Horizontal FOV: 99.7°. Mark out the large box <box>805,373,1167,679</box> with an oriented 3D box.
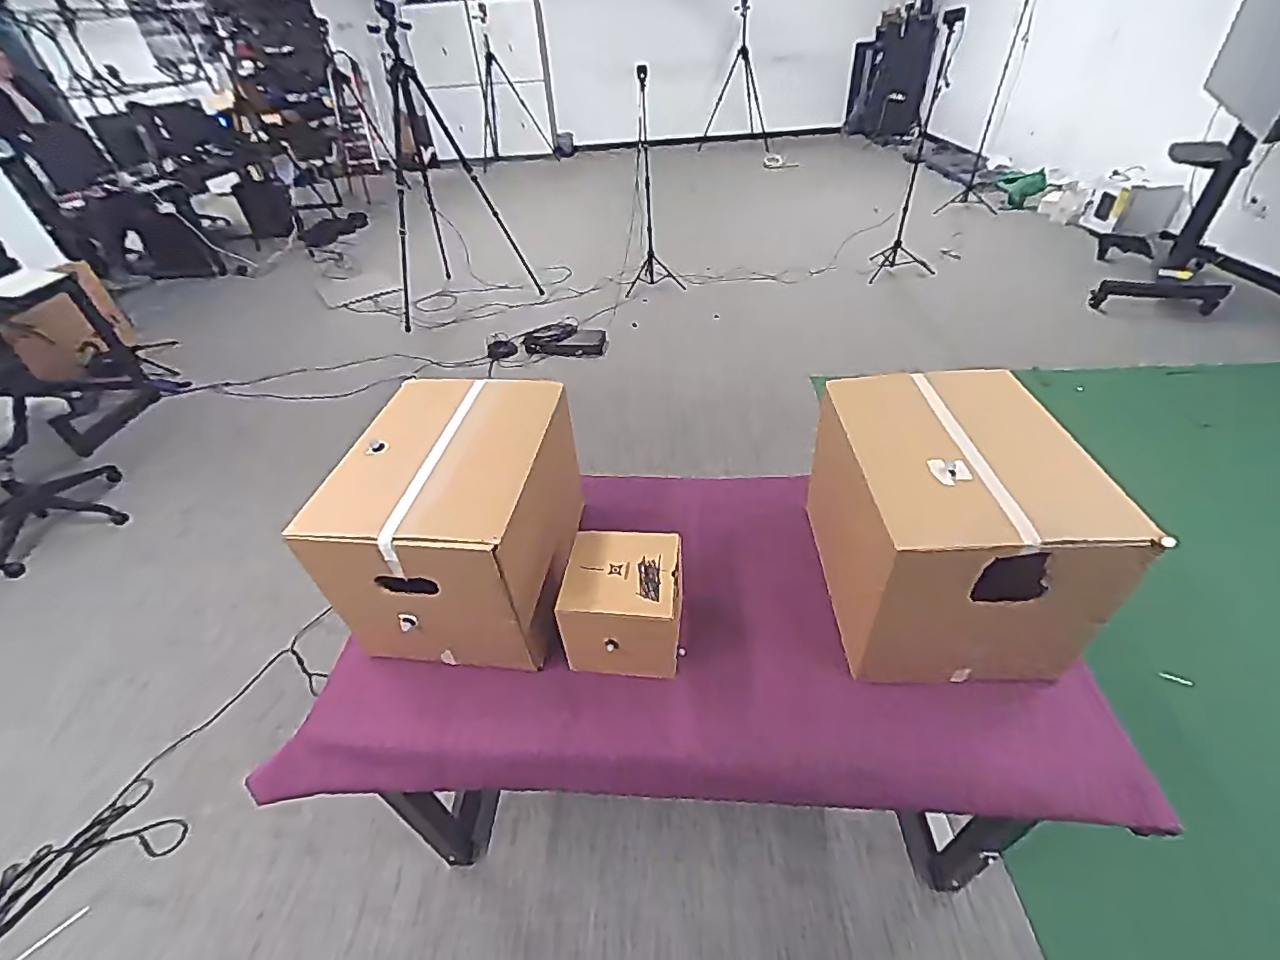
[{"bbox_3d":[0.482,0.065,0.887,0.320,0.320,0.408,-3,41,5],"label":"large box"}]
